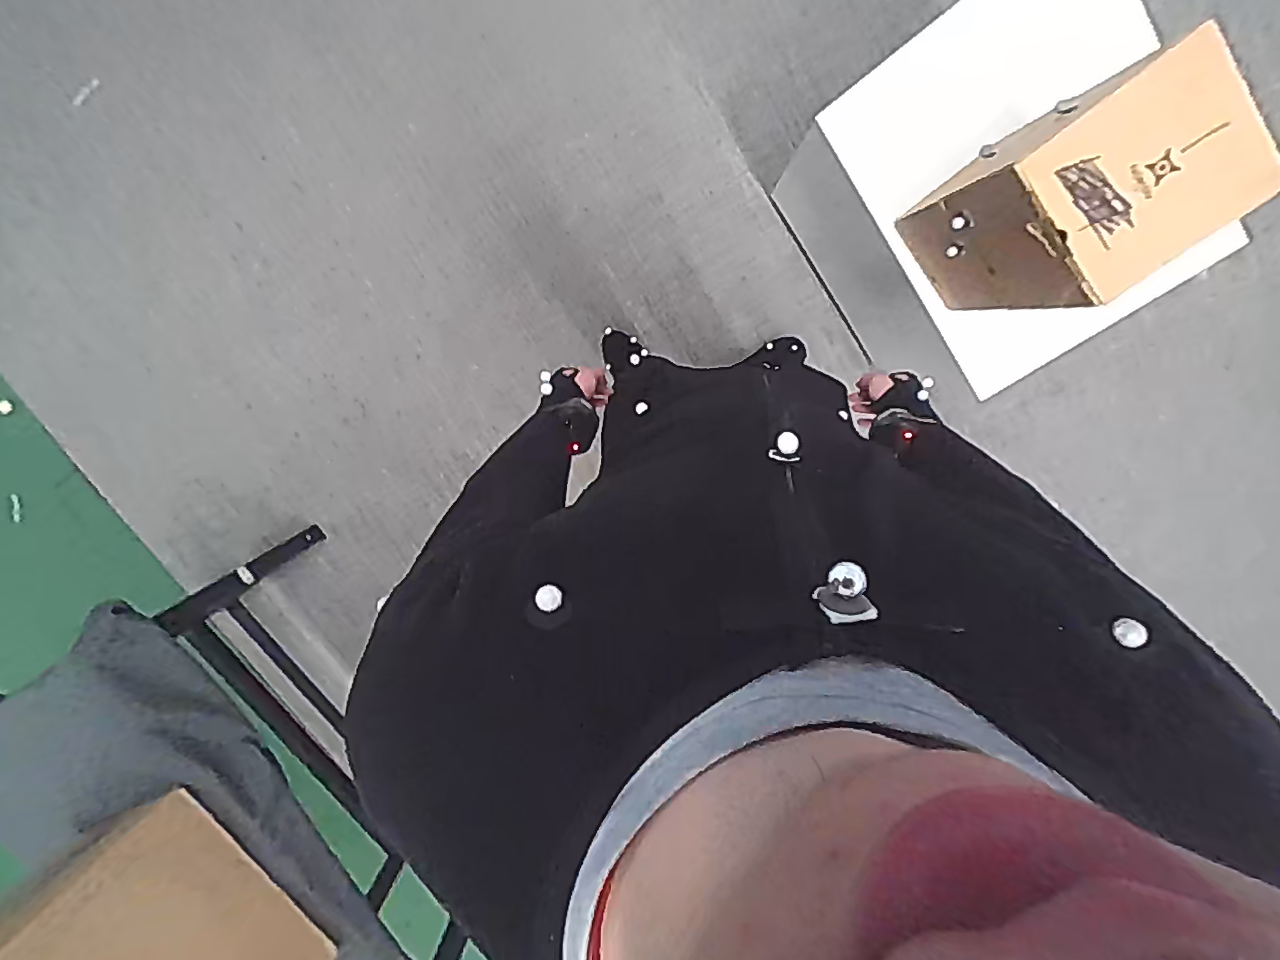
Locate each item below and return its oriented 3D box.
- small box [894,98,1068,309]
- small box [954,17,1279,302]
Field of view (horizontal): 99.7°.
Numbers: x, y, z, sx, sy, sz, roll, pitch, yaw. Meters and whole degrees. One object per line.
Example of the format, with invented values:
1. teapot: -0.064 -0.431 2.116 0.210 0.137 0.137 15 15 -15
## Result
1. small box: 0.485 -0.351 0.727 0.179 0.176 0.168 -38 99 13
2. small box: 0.470 -0.306 0.570 0.179 0.176 0.168 -37 100 13
